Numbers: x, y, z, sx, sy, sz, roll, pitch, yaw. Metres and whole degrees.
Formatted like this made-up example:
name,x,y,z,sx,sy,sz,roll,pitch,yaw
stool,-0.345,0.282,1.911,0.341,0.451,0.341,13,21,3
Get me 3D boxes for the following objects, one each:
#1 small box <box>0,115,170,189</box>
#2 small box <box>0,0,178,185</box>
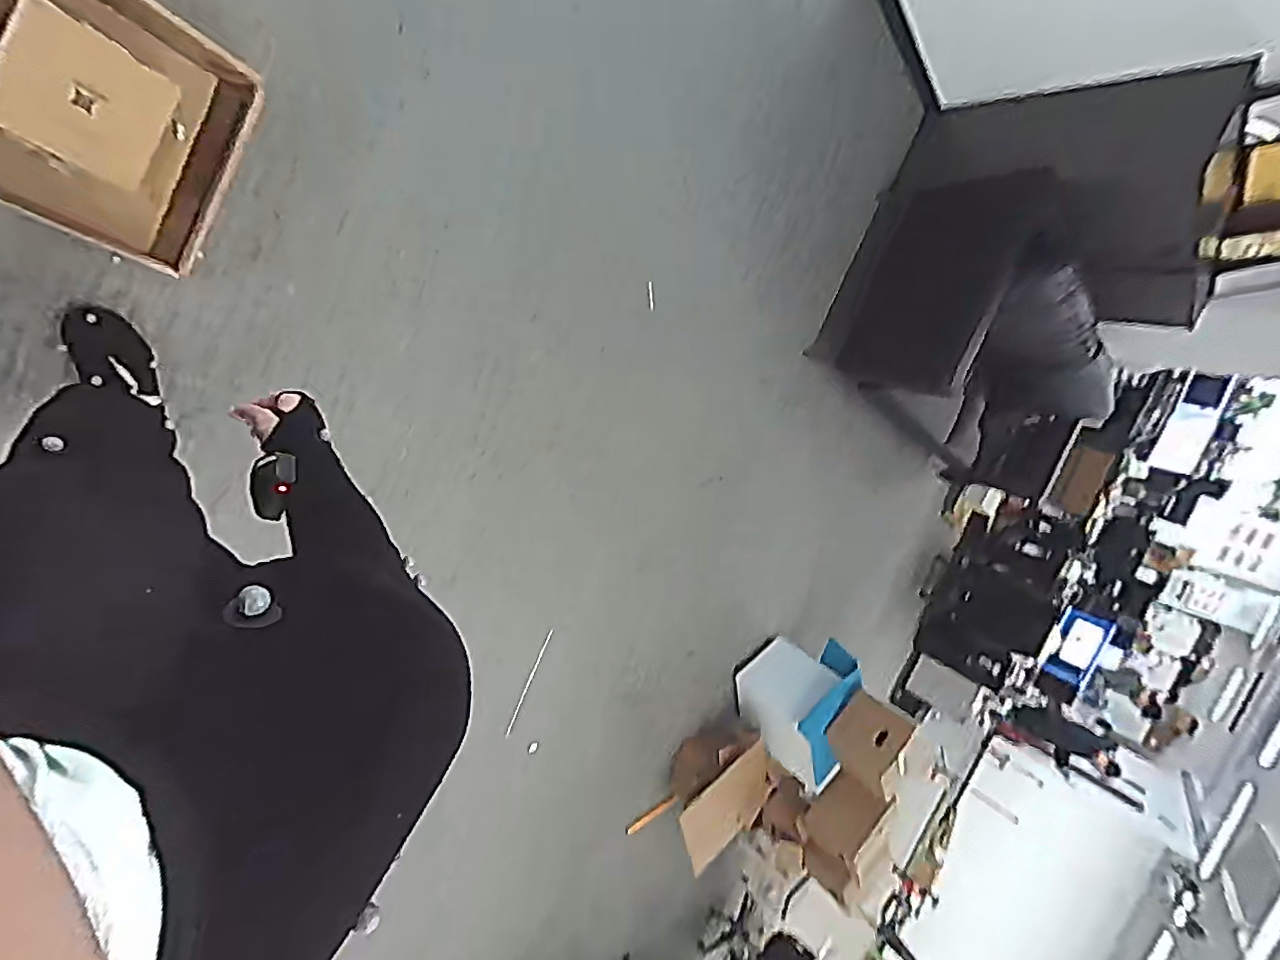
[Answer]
name,x,y,z,sx,sy,sz,roll,pitch,yaw
small box,-0.926,-0.620,0.917,0.168,0.176,0.179,21,95,-45
small box,-0.823,-0.570,0.800,0.168,0.176,0.179,25,93,-44
